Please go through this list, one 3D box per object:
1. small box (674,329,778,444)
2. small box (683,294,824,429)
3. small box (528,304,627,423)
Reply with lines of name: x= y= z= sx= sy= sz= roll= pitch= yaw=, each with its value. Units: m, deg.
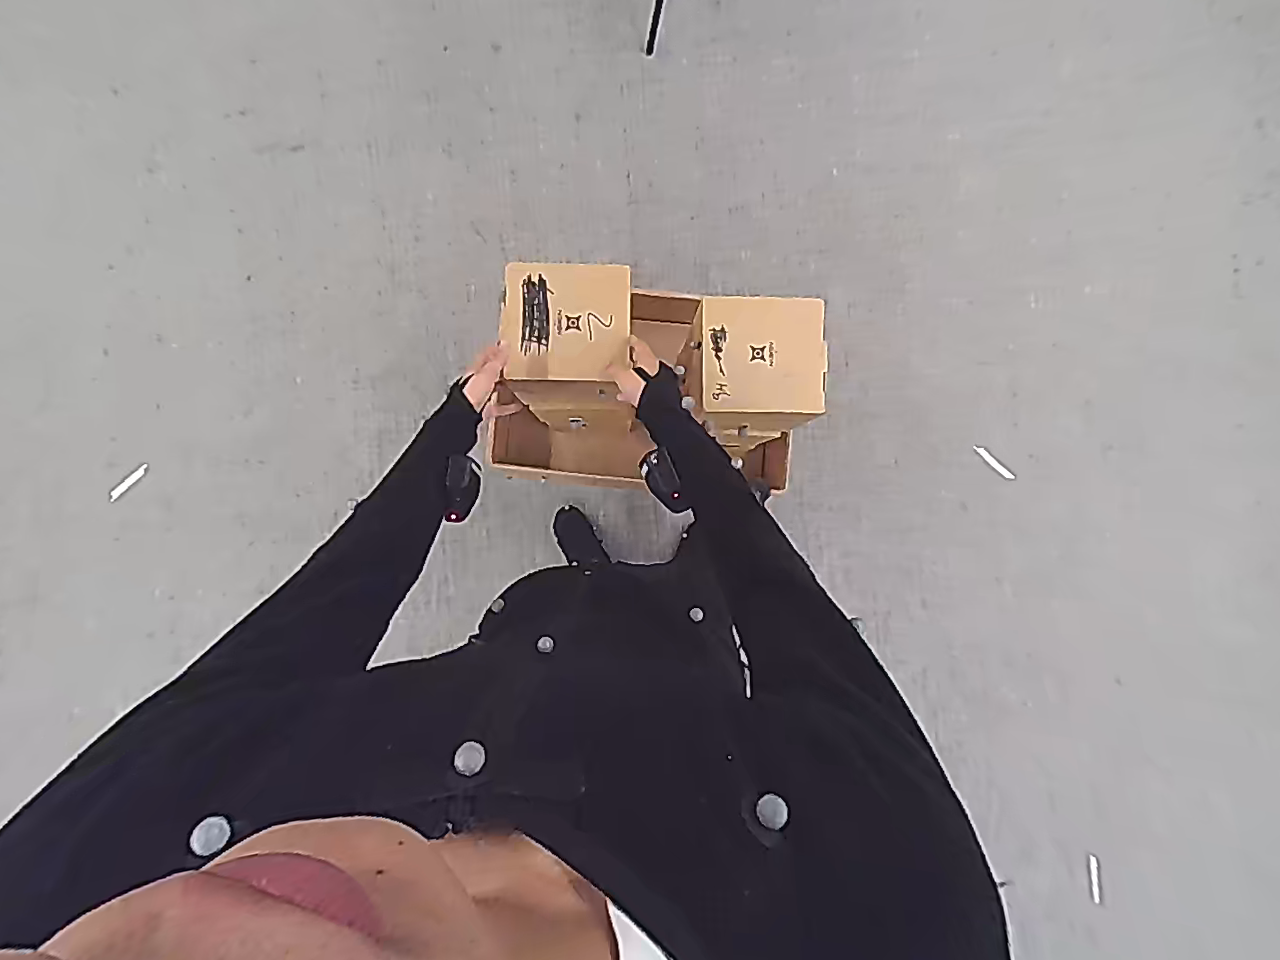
small box: x=0.156 y=-0.163 z=0.998 sx=0.168 sy=0.176 sz=0.179 roll=3 pitch=87 yaw=-3
small box: x=0.167 y=-0.172 z=0.835 sx=0.179 sy=0.176 sz=0.168 roll=1 pitch=87 yaw=-4
small box: x=-0.107 y=-0.205 z=0.983 sx=0.168 sy=0.176 sz=0.179 roll=0 pitch=88 yaw=-1
